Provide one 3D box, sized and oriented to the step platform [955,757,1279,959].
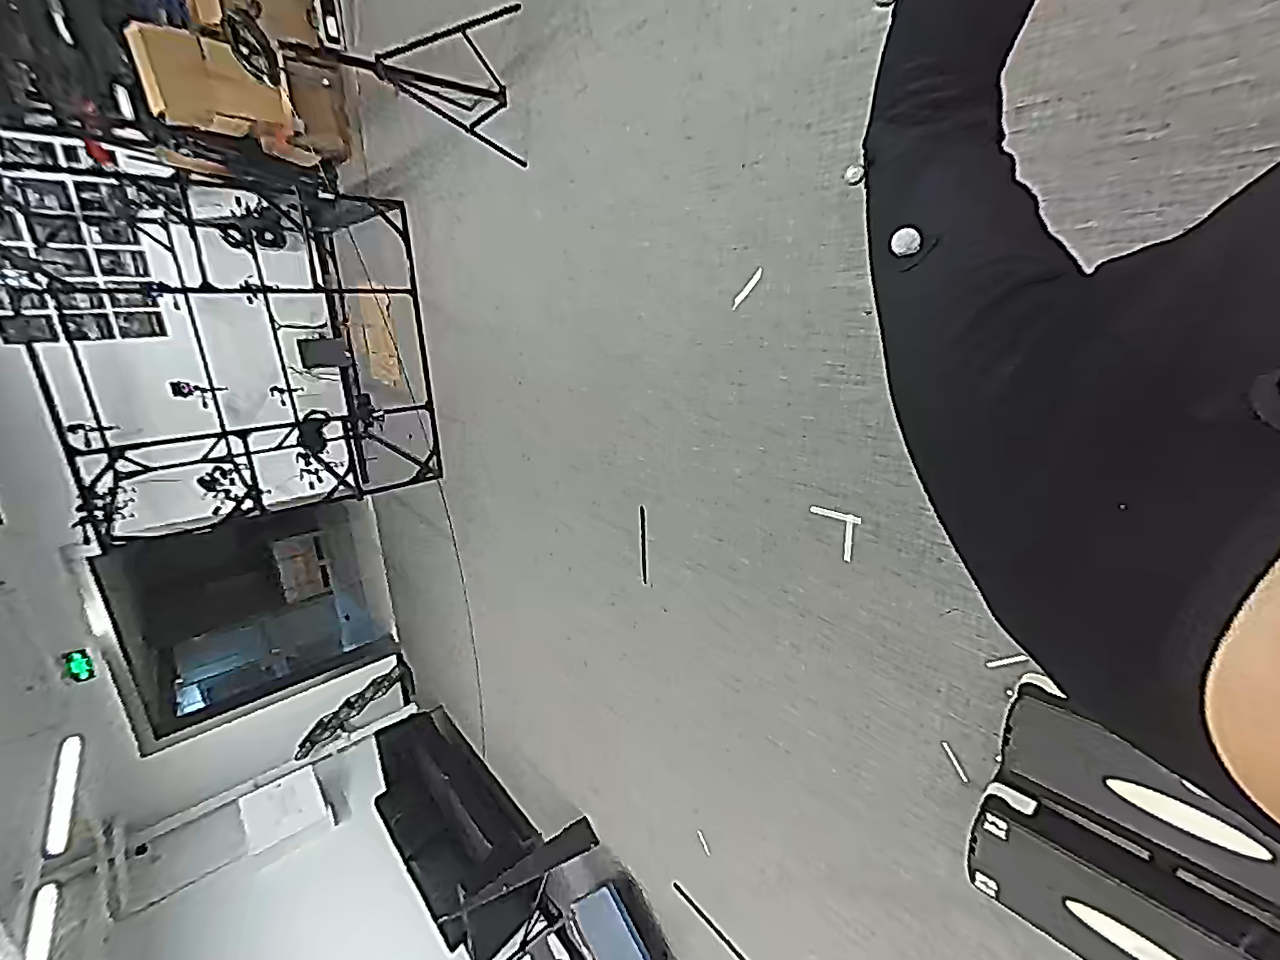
[{"bbox_3d":[1.127,0.976,1.257,0.684,0.204,0.286,17,116,48],"label":"step platform"}]
